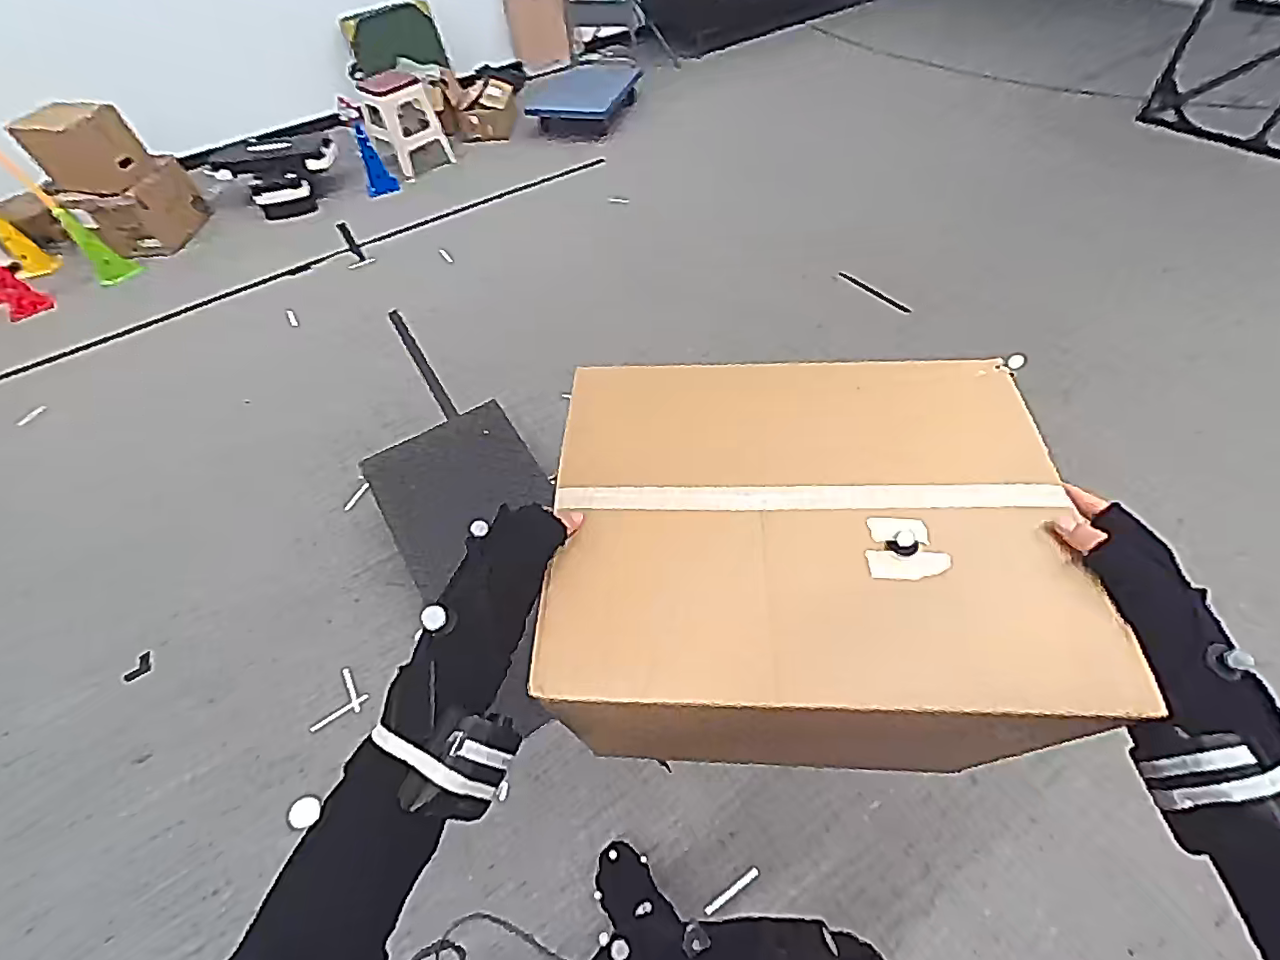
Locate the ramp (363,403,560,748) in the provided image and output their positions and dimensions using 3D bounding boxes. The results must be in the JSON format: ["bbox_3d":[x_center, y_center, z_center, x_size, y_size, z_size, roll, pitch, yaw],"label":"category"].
[{"bbox_3d":[-0.425,0.209,1.637,0.509,0.206,0.991,-31,56,-18],"label":"ramp"}]

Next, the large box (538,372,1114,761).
[{"bbox_3d":[0.133,0.108,0.579,0.408,0.320,0.320,-1,56,4],"label":"large box"}]
